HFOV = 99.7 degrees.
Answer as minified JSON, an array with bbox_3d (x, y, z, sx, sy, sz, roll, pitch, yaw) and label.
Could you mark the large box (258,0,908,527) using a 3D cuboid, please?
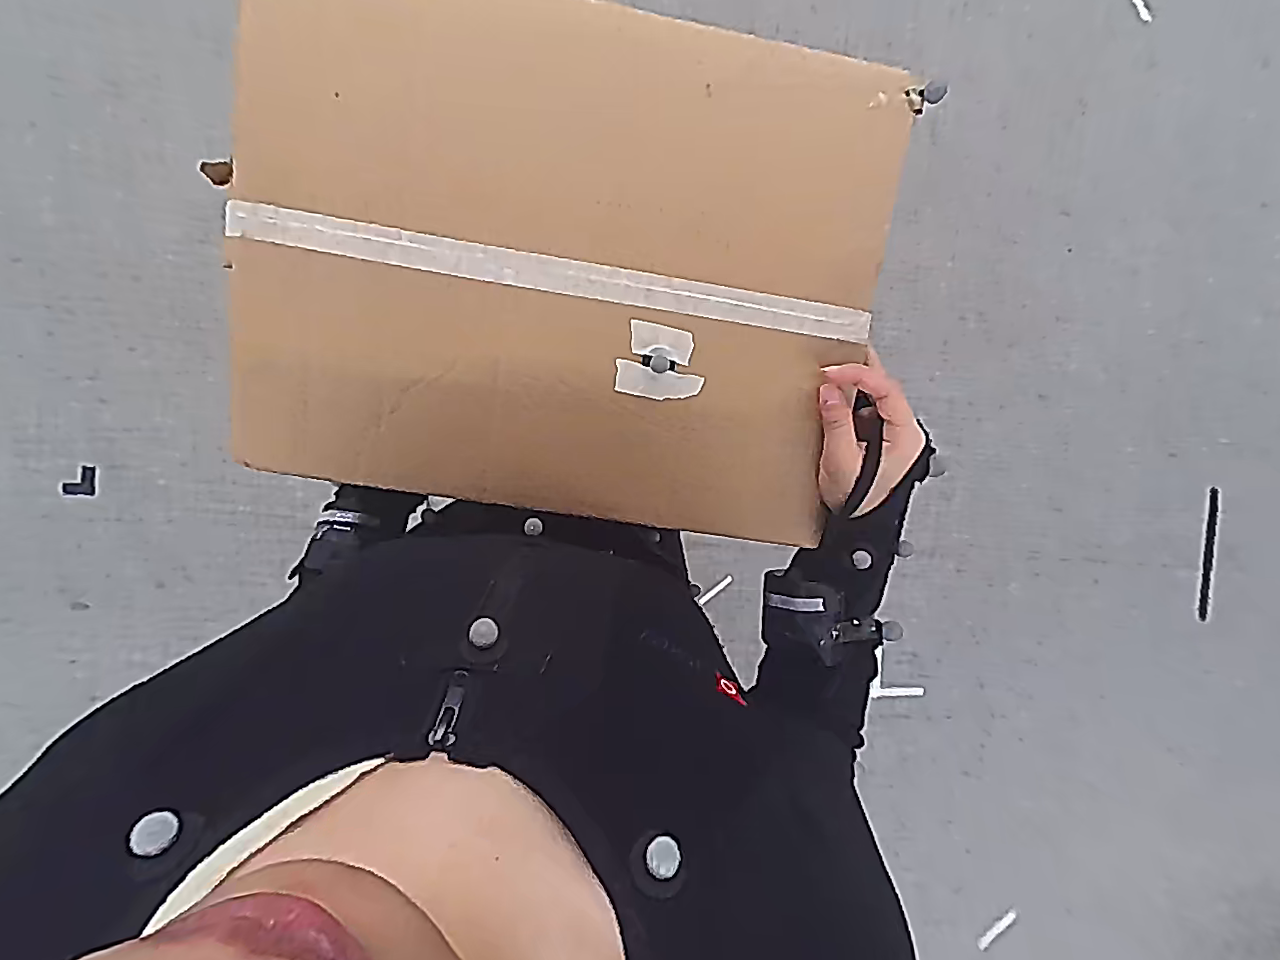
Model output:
[{"bbox_3d":[-0.053,-0.164,0.502,0.408,0.320,0.320,8,101,-6],"label":"large box"}]
